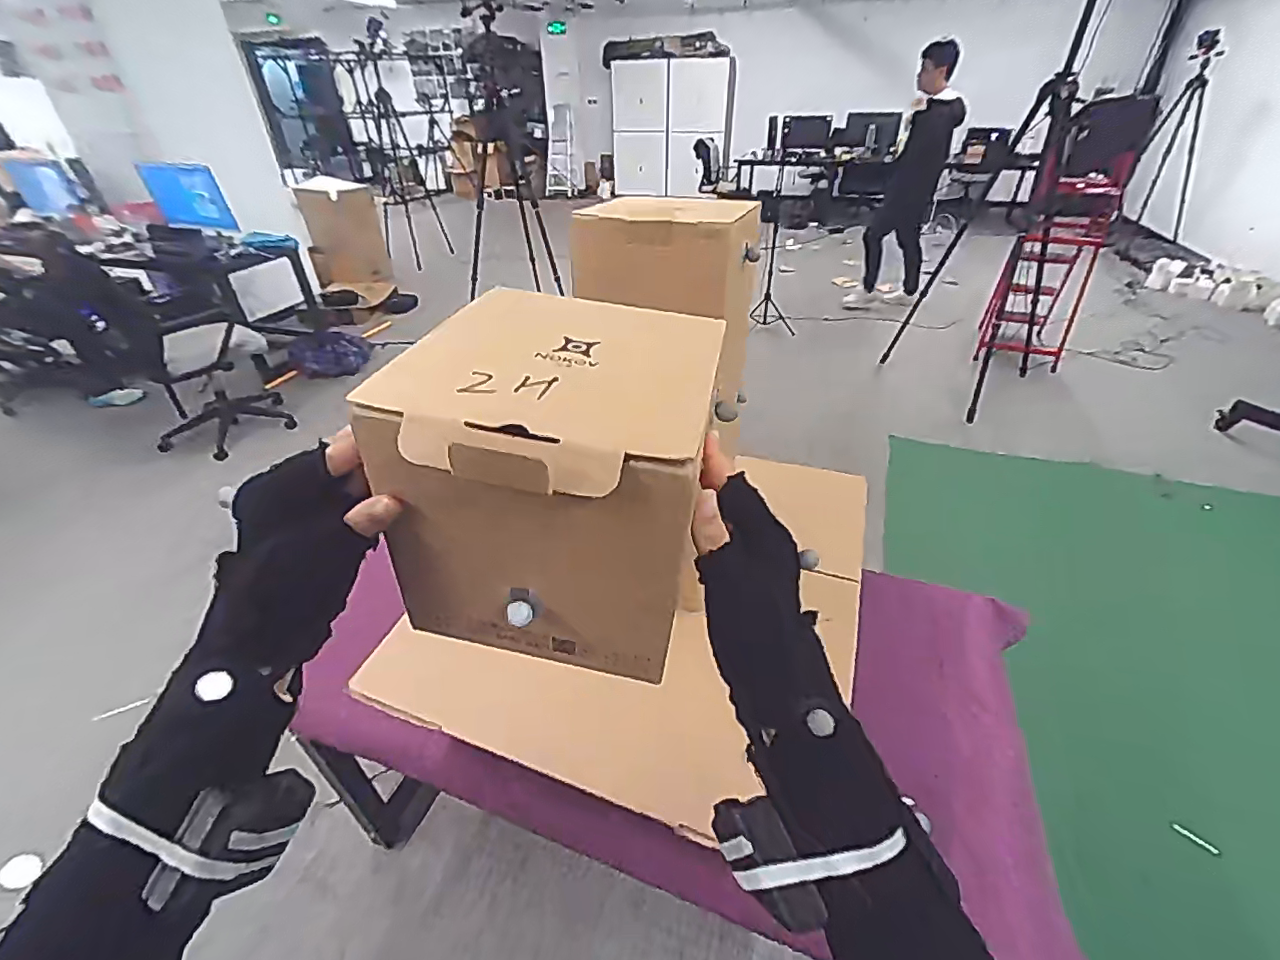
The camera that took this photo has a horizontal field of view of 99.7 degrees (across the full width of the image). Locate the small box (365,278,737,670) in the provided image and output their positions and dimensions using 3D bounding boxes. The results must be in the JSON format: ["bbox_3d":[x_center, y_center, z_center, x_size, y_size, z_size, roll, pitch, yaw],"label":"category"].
[{"bbox_3d":[-0.039,-0.011,0.354,0.168,0.176,0.179,11,39,7],"label":"small box"}]

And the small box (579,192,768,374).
[{"bbox_3d":[0.040,-0.222,0.619,0.168,0.176,0.179,12,36,15],"label":"small box"}]

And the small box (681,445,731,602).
[{"bbox_3d":[0.033,0.053,0.800,0.168,0.176,0.179,11,37,15],"label":"small box"}]
